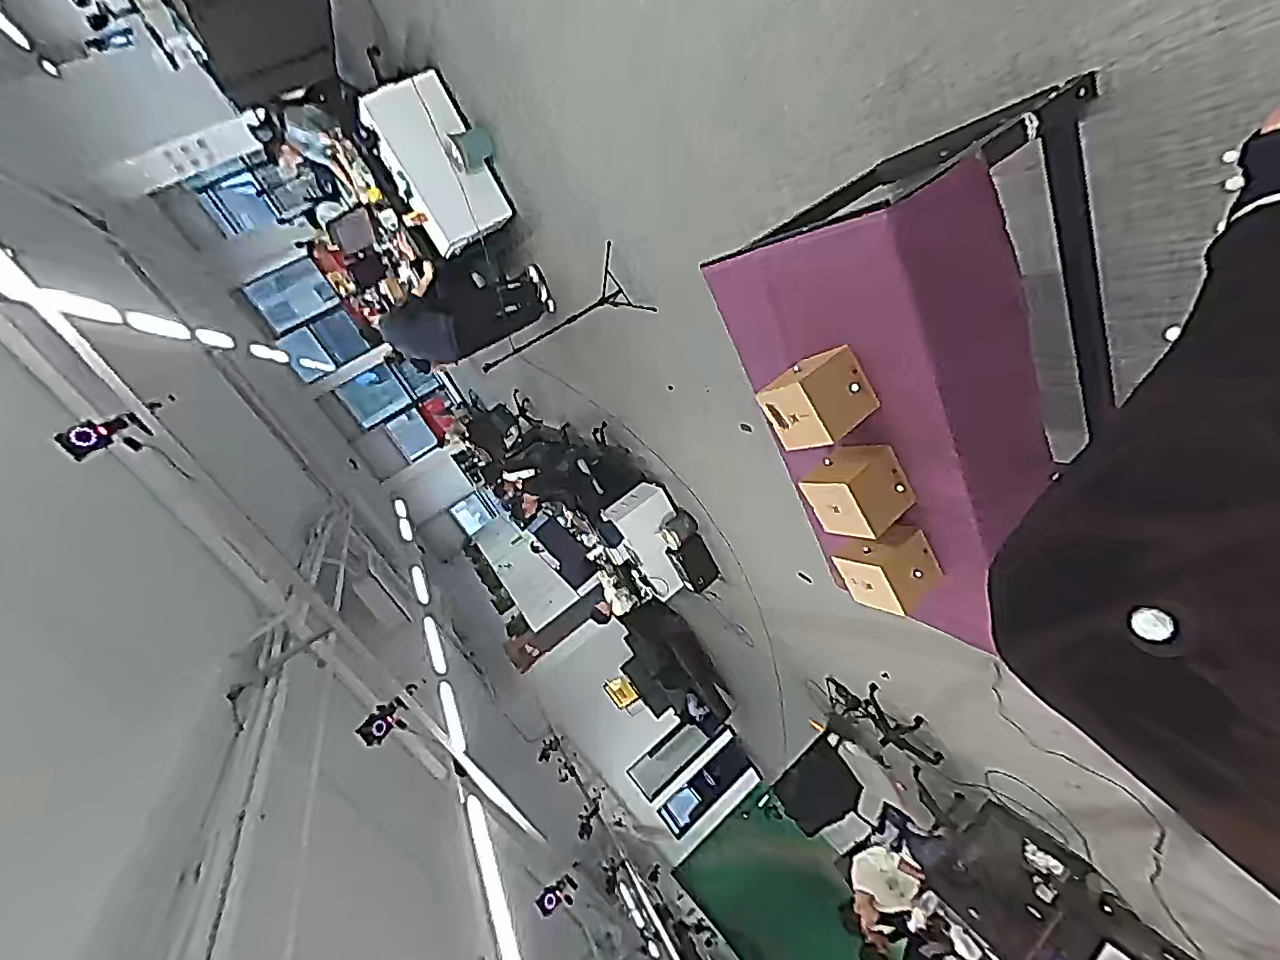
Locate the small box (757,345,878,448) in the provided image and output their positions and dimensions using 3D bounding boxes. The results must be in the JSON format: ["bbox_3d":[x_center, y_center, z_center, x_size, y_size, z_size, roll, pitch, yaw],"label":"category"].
[{"bbox_3d":[0.420,-0.195,1.284,0.168,0.176,0.179,56,163,-10],"label":"small box"}]

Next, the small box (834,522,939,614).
[{"bbox_3d":[0.670,0.227,1.457,0.168,0.176,0.179,58,163,-14],"label":"small box"}]

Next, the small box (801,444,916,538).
[{"bbox_3d":[0.552,0.021,1.369,0.168,0.176,0.179,57,164,-14],"label":"small box"}]
